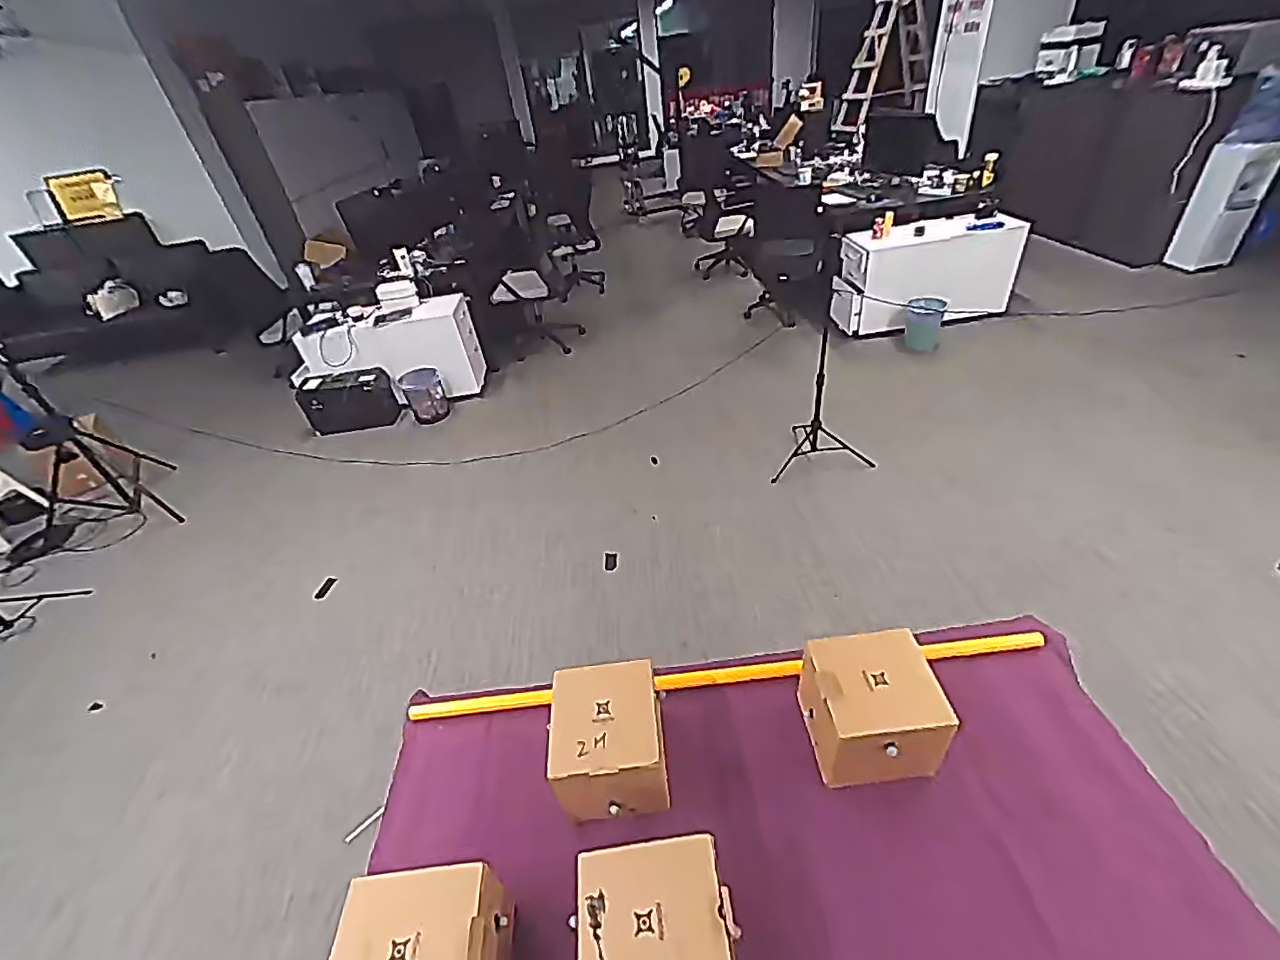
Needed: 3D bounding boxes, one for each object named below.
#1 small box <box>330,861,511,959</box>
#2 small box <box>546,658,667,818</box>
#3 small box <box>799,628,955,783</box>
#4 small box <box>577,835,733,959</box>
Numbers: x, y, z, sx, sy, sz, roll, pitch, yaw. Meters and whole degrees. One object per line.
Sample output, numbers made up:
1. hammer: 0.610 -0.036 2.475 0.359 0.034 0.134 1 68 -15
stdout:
1. small box: -0.272 0.614 0.686 0.179 0.176 0.168 -7 37 -1
2. small box: -0.050 0.424 0.891 0.168 0.176 0.179 -8 39 2
3. small box: 0.369 0.368 0.881 0.179 0.176 0.168 -8 39 2
4. small box: 0.021 0.577 0.678 0.179 0.176 0.168 -8 37 0
